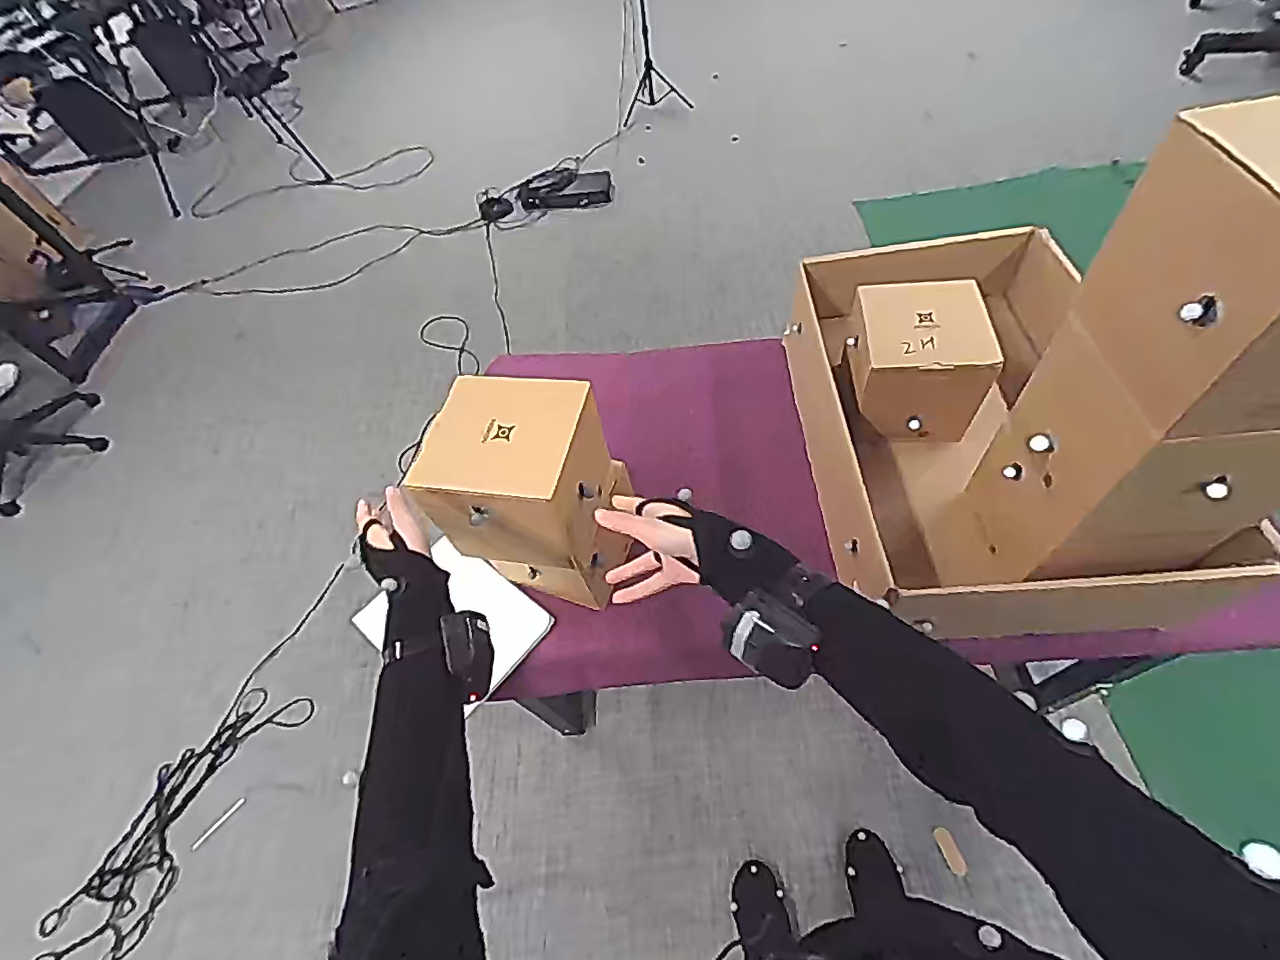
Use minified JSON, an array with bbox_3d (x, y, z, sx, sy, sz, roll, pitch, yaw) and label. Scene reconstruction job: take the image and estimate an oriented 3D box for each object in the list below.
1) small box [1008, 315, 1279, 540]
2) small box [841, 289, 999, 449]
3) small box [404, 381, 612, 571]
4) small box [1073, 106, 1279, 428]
[{"bbox_3d":[0.509,-0.054,0.529,0.179,0.176,0.168,-5,54,9],"label":"small box"},{"bbox_3d":[0.412,-0.168,0.831,0.168,0.176,0.179,1,56,11],"label":"small box"},{"bbox_3d":[-0.143,-0.001,0.667,0.179,0.176,0.168,4,56,14],"label":"small box"},{"bbox_3d":[0.480,-0.152,0.402,0.168,0.176,0.179,-4,54,9],"label":"small box"}]
